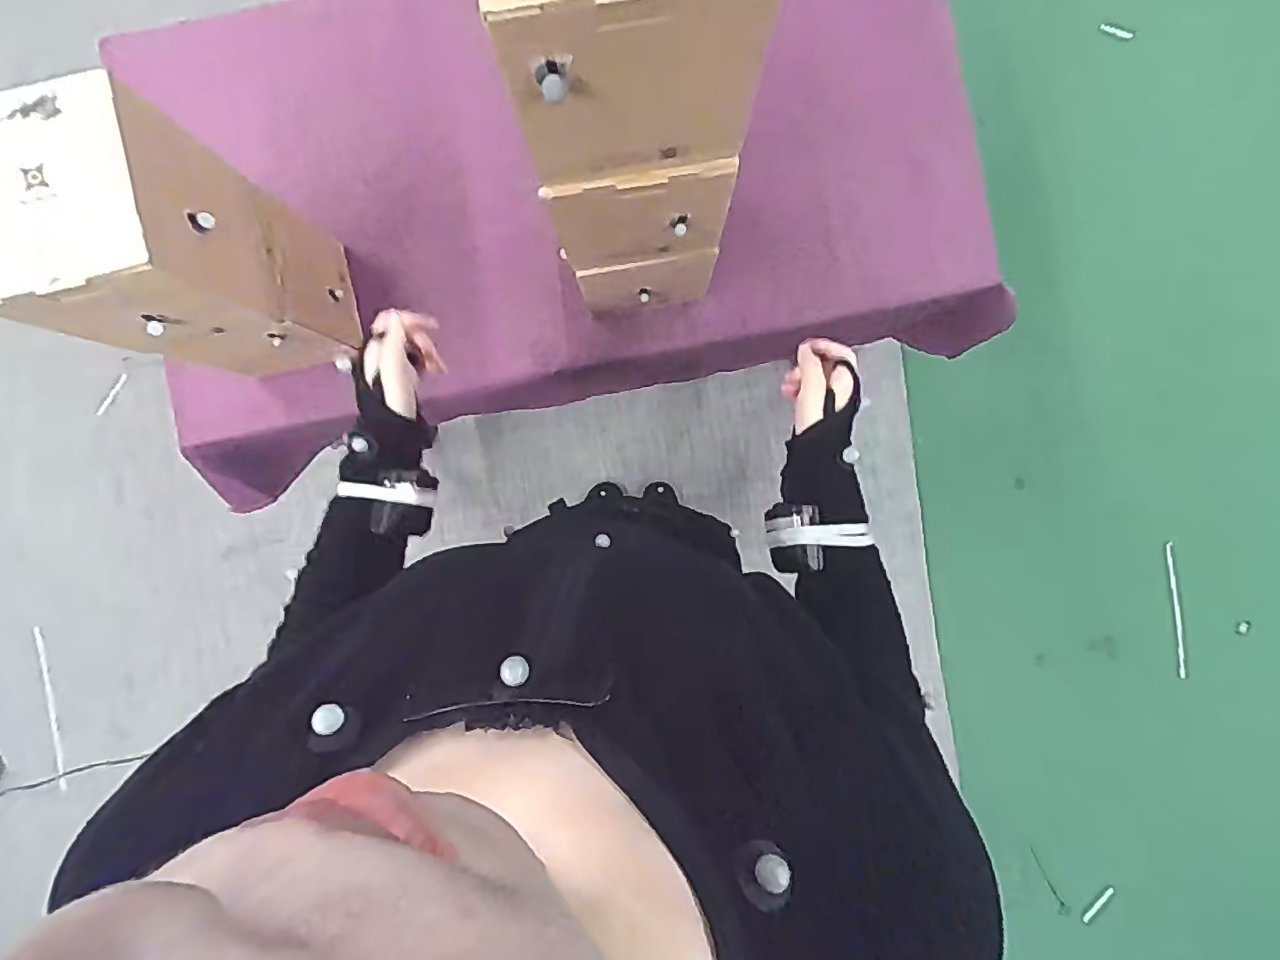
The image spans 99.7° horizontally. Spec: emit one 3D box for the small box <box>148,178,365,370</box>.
[{"bbox_3d":[-0.499,-0.253,0.706,0.179,0.176,0.168,-12,90,1],"label":"small box"}]

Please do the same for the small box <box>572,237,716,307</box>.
[{"bbox_3d":[-0.002,-0.333,0.690,0.168,0.176,0.179,-8,90,1],"label":"small box"}]

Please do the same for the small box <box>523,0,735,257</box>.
[{"bbox_3d":[-0.006,-0.335,0.527,0.168,0.176,0.179,-7,90,1],"label":"small box"}]

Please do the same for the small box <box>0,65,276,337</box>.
[{"bbox_3d":[-0.507,-0.254,0.542,0.168,0.176,0.179,-12,90,0],"label":"small box"}]
